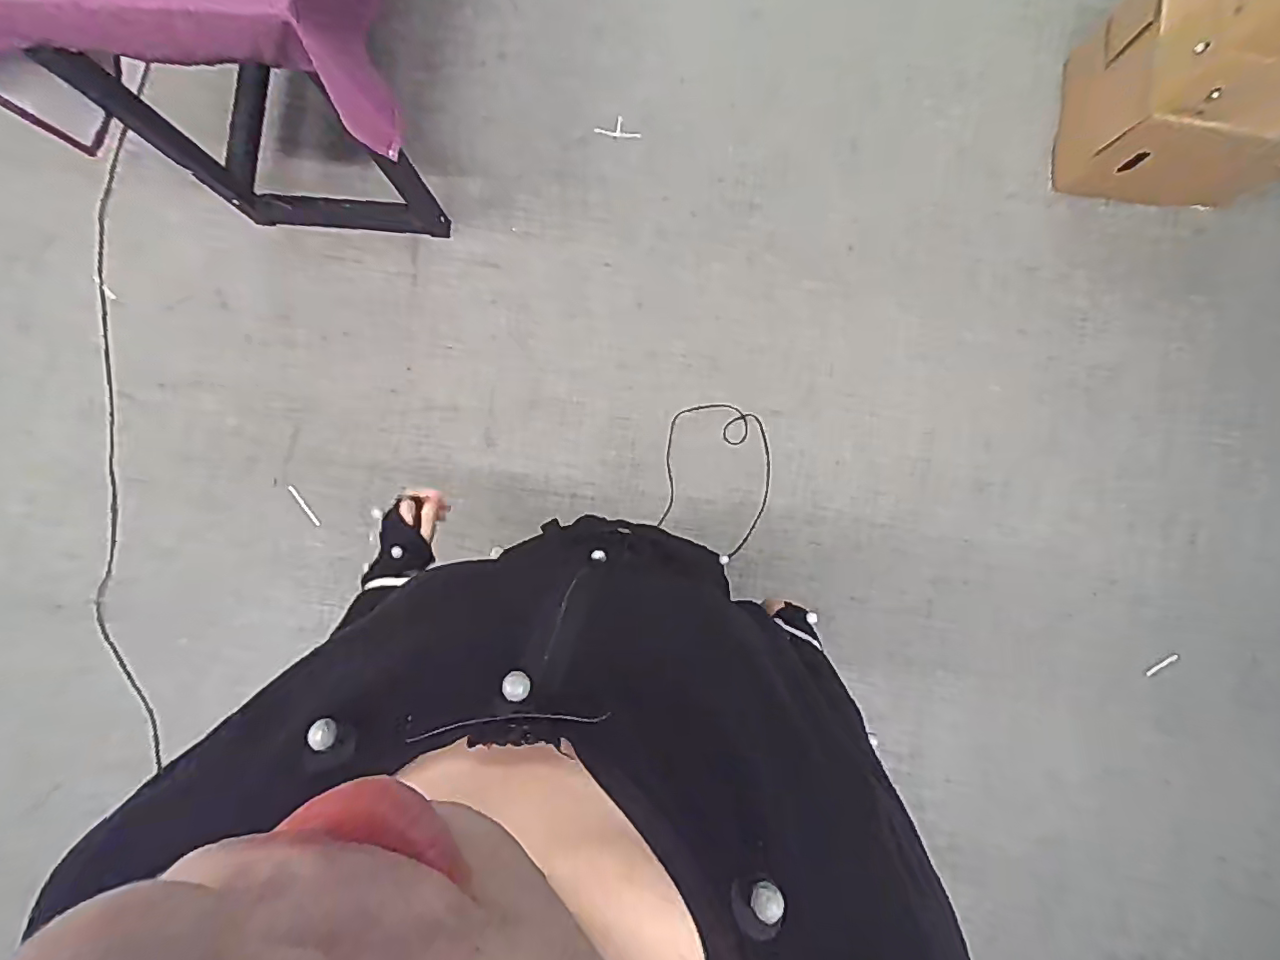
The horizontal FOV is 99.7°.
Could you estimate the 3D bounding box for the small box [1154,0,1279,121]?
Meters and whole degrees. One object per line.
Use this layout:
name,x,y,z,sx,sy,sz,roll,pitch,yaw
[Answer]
small box,1.278,-0.925,1.173,0.168,0.176,0.179,10,87,0
